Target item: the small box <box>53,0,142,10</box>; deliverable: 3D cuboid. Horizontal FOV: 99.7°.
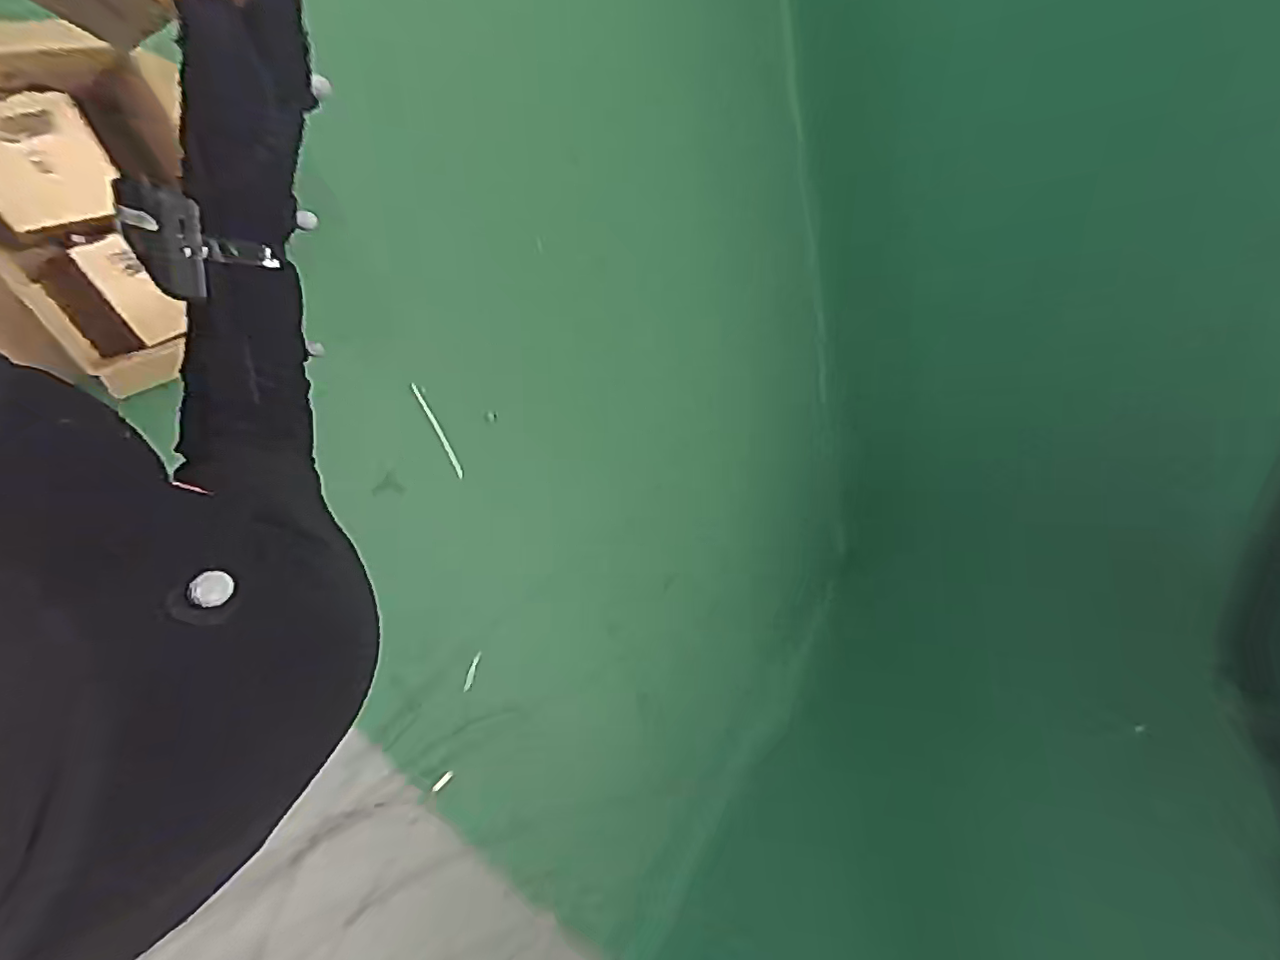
[{"bbox_3d":[-0.321,-0.354,0.234,0.179,0.176,0.168,10,102,-53],"label":"small box"}]
